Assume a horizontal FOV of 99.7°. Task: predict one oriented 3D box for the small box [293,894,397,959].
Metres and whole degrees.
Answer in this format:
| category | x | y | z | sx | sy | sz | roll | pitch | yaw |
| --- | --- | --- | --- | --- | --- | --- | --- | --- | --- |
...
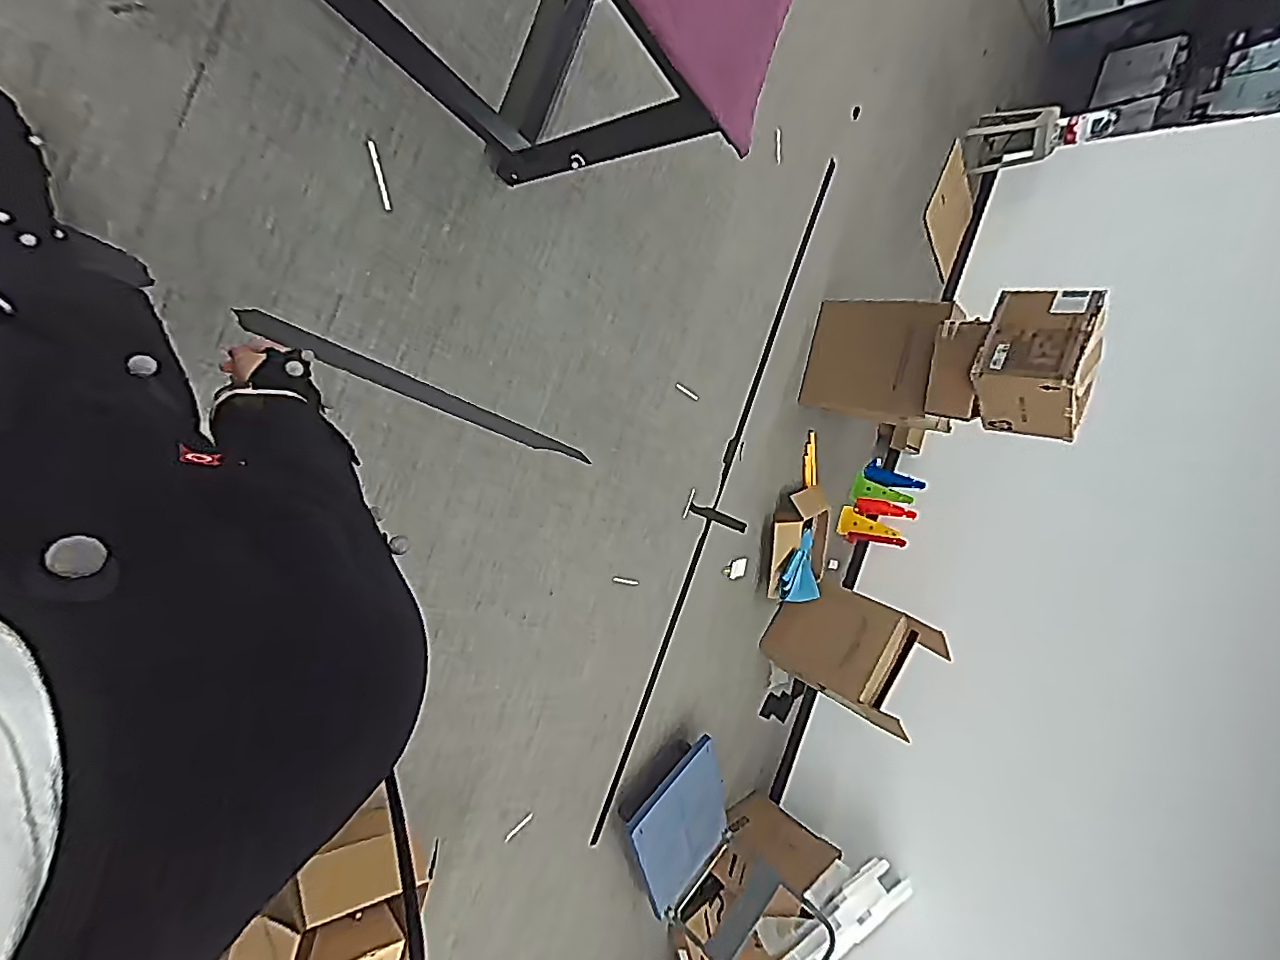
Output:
| category | x | y | z | sx | sy | sz | roll | pitch | yaw |
| --- | --- | --- | --- | --- | --- | --- | --- | --- | --- |
| small box | -0.742 | 1.194 | 1.344 | 0.168 | 0.176 | 0.179 | 20 | 88 | -49 |
